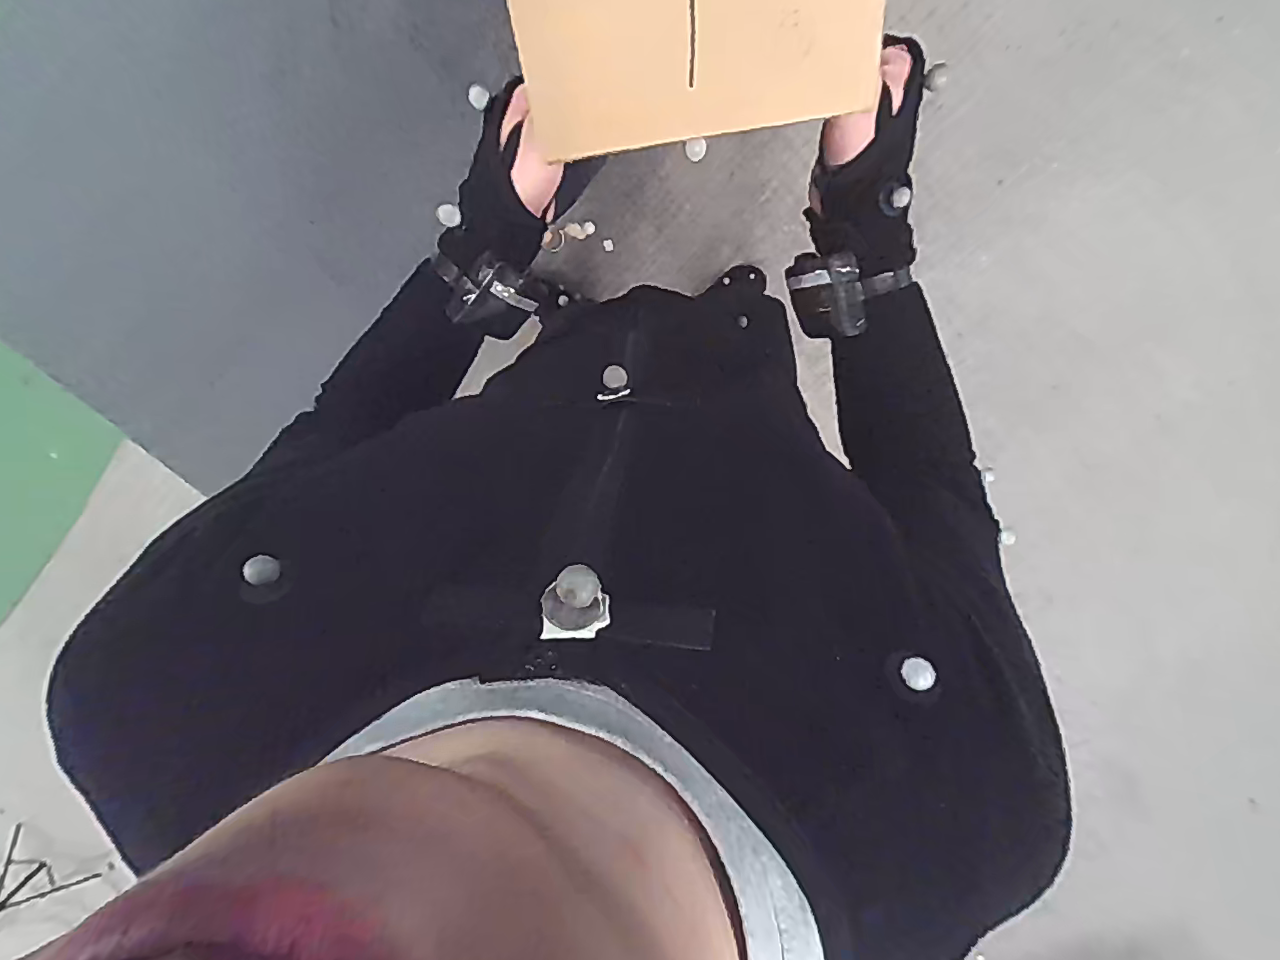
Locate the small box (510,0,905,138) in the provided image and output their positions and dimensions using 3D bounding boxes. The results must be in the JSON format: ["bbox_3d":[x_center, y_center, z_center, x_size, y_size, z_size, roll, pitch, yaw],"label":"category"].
[{"bbox_3d":[0.029,-0.282,0.266,0.168,0.176,0.179,-2,124,10],"label":"small box"}]
